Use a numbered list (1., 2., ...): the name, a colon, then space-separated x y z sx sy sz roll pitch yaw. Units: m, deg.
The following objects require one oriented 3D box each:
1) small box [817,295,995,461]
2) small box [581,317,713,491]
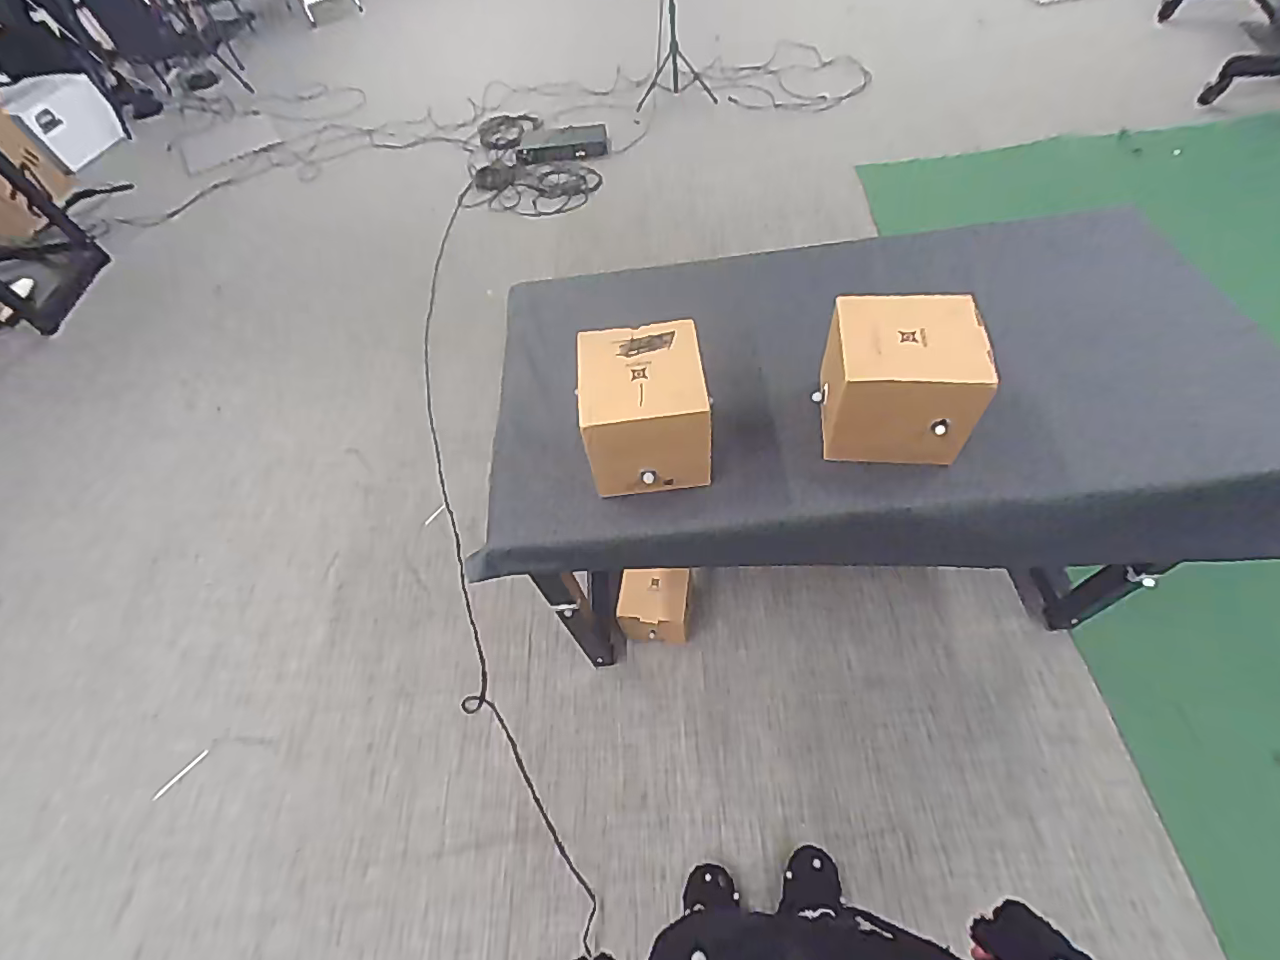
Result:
1. small box: 0.358 -0.140 0.766 0.179 0.176 0.168 2 56 10
2. small box: 0.010 -0.106 0.781 0.168 0.176 0.179 -6 56 3
